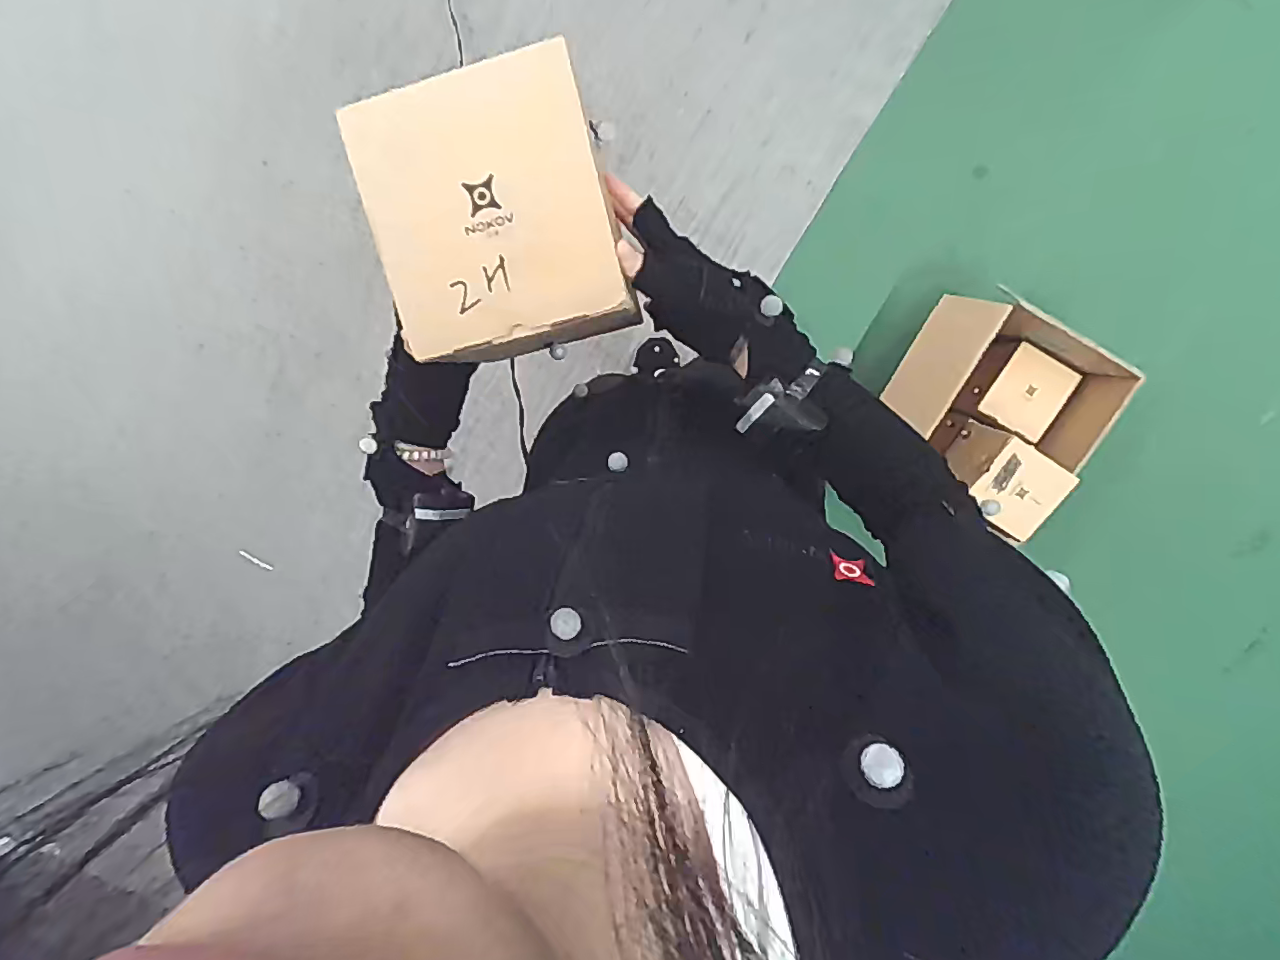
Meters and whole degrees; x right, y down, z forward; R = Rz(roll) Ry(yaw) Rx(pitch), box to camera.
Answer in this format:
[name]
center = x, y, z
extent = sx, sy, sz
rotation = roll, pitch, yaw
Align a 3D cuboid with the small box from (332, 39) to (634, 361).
[small box]
center = -0.106, -0.202, 0.450
extent = 0.168, 0.176, 0.179
rotation = -13, 101, 7
